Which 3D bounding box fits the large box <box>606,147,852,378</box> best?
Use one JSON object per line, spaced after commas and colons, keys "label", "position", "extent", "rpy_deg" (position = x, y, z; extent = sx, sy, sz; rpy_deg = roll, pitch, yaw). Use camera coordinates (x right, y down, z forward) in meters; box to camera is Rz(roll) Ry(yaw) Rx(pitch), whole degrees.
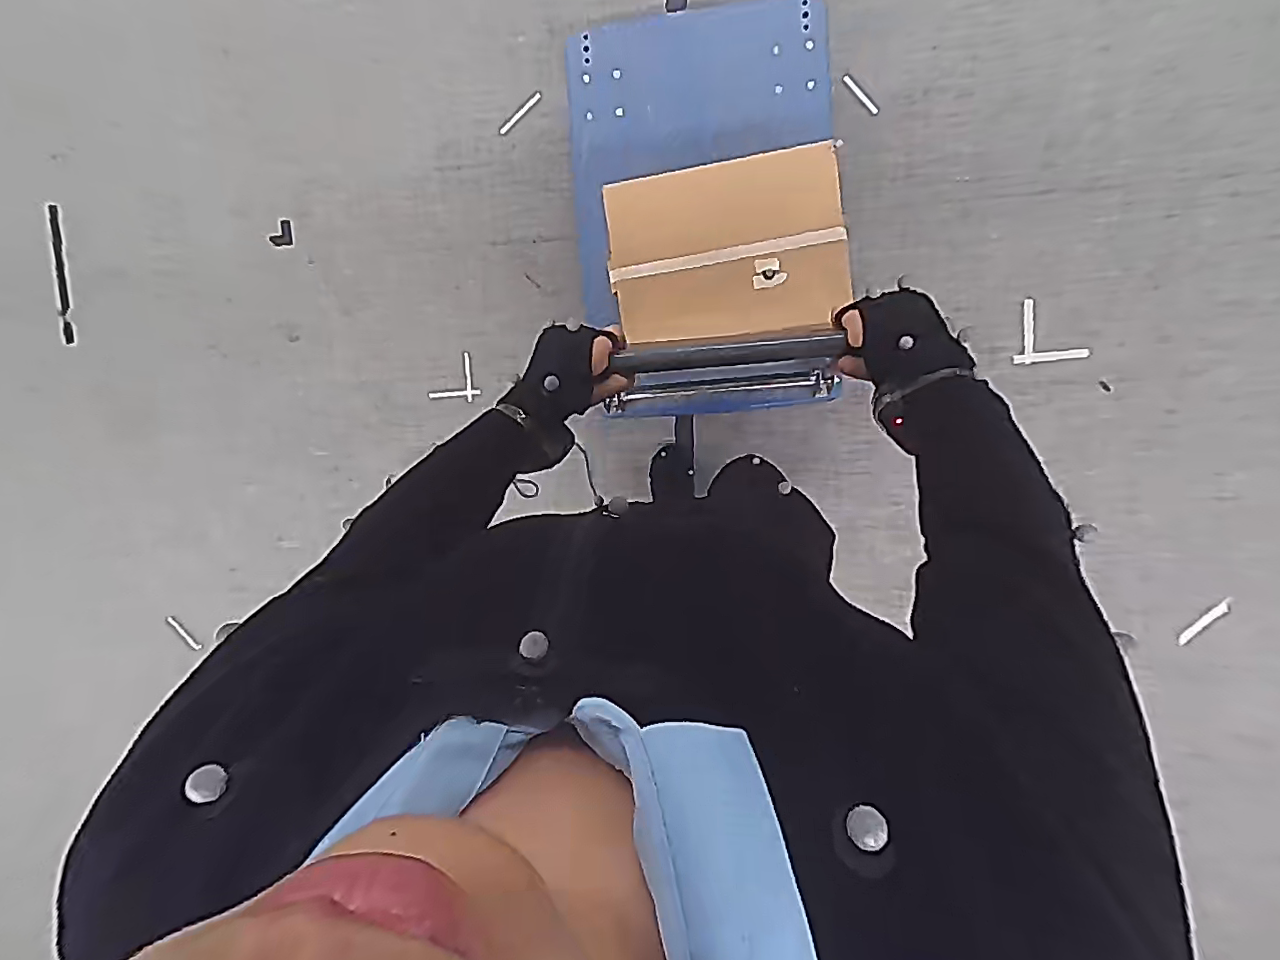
{"label": "large box", "position": [0.168, -0.407, 1.106], "extent": [0.408, 0.320, 0.320], "rpy_deg": [-8, 96, 6]}
